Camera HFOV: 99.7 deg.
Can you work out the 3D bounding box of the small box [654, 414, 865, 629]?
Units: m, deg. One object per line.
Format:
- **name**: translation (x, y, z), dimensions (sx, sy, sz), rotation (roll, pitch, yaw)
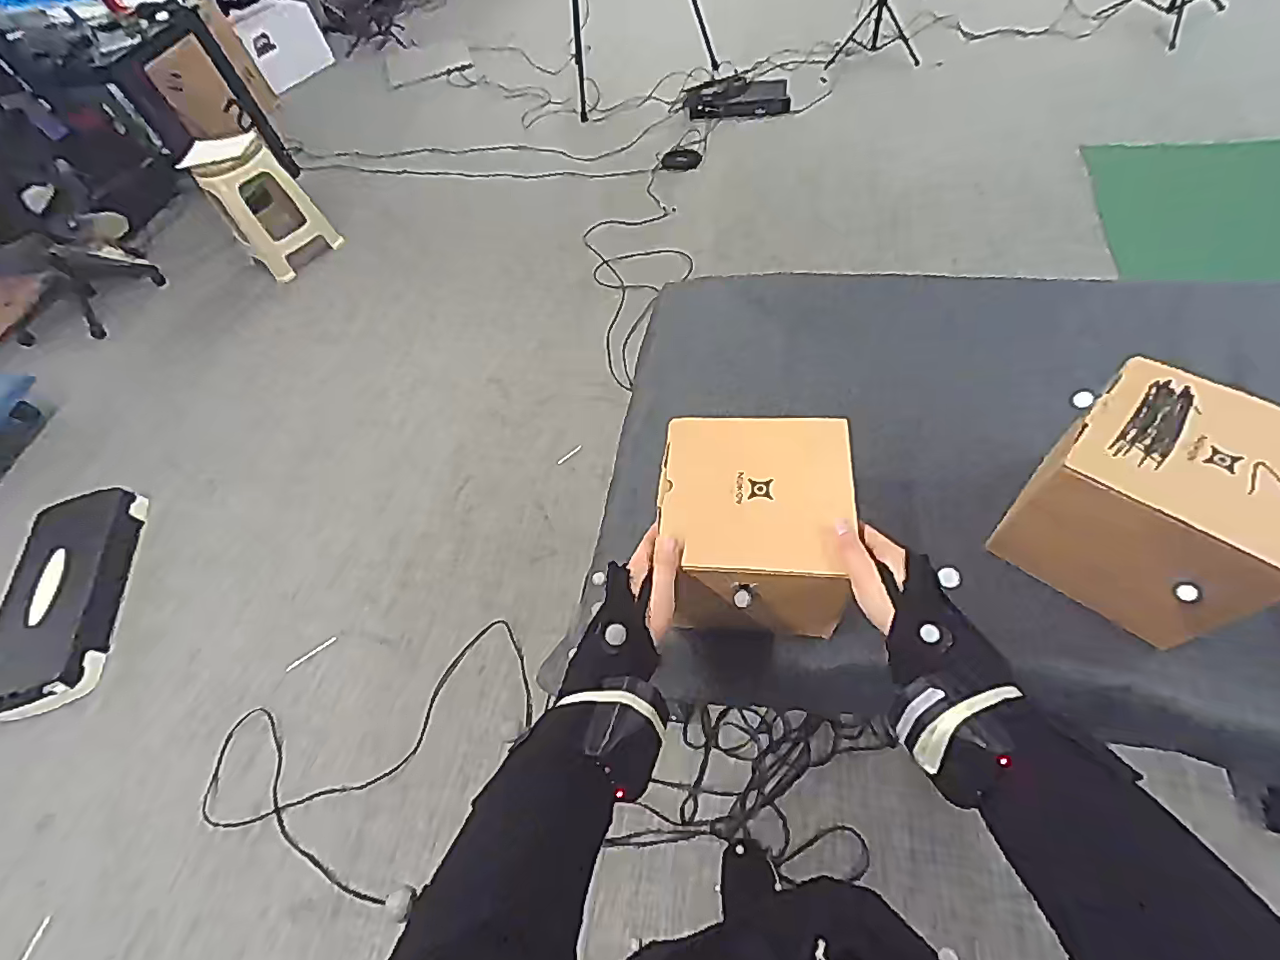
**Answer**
- **small box**: translation (0.119, 0.048, 0.560), dimensions (0.179, 0.176, 0.168), rotation (-1, 57, 12)
